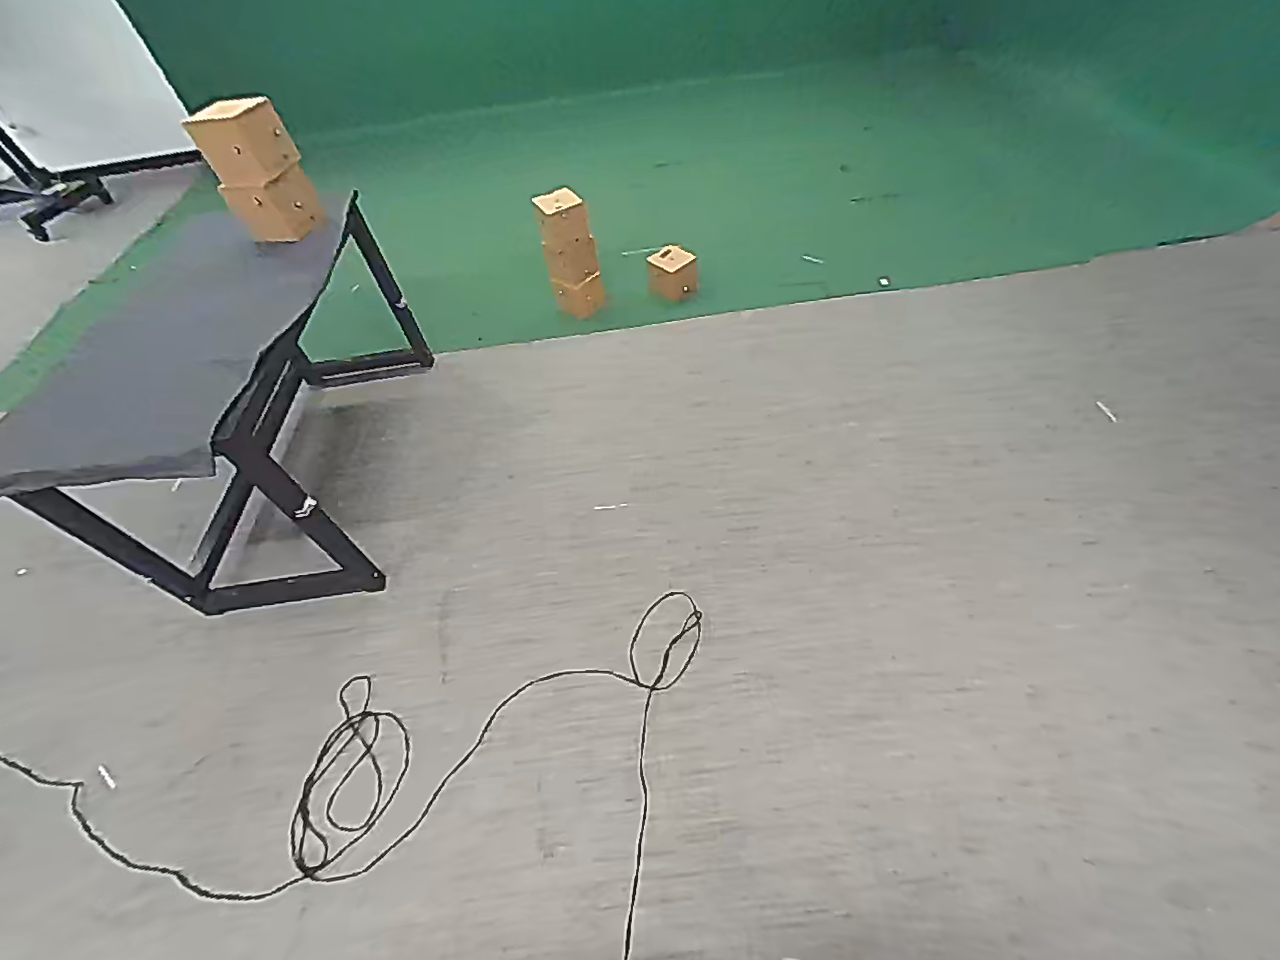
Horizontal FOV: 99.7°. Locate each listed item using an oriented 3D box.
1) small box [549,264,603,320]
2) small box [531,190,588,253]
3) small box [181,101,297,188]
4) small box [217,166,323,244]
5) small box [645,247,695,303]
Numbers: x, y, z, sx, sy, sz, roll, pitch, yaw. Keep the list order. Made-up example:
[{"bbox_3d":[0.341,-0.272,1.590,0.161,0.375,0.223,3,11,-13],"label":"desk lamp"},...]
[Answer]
[{"bbox_3d":[-0.295,-0.879,2.540,0.179,0.176,0.168,31,62,28],"label":"small box"},{"bbox_3d":[-0.340,-1.097,2.297,0.168,0.176,0.179,-28,53,-14],"label":"small box"},{"bbox_3d":[-1.152,-0.971,1.572,0.179,0.176,0.168,2,51,12],"label":"small box"},{"bbox_3d":[-1.141,-0.855,1.687,0.179,0.176,0.168,6,53,15],"label":"small box"},{"bbox_3d":[0.143,-0.960,2.544,0.168,0.176,0.179,-39,58,-22],"label":"small box"}]
